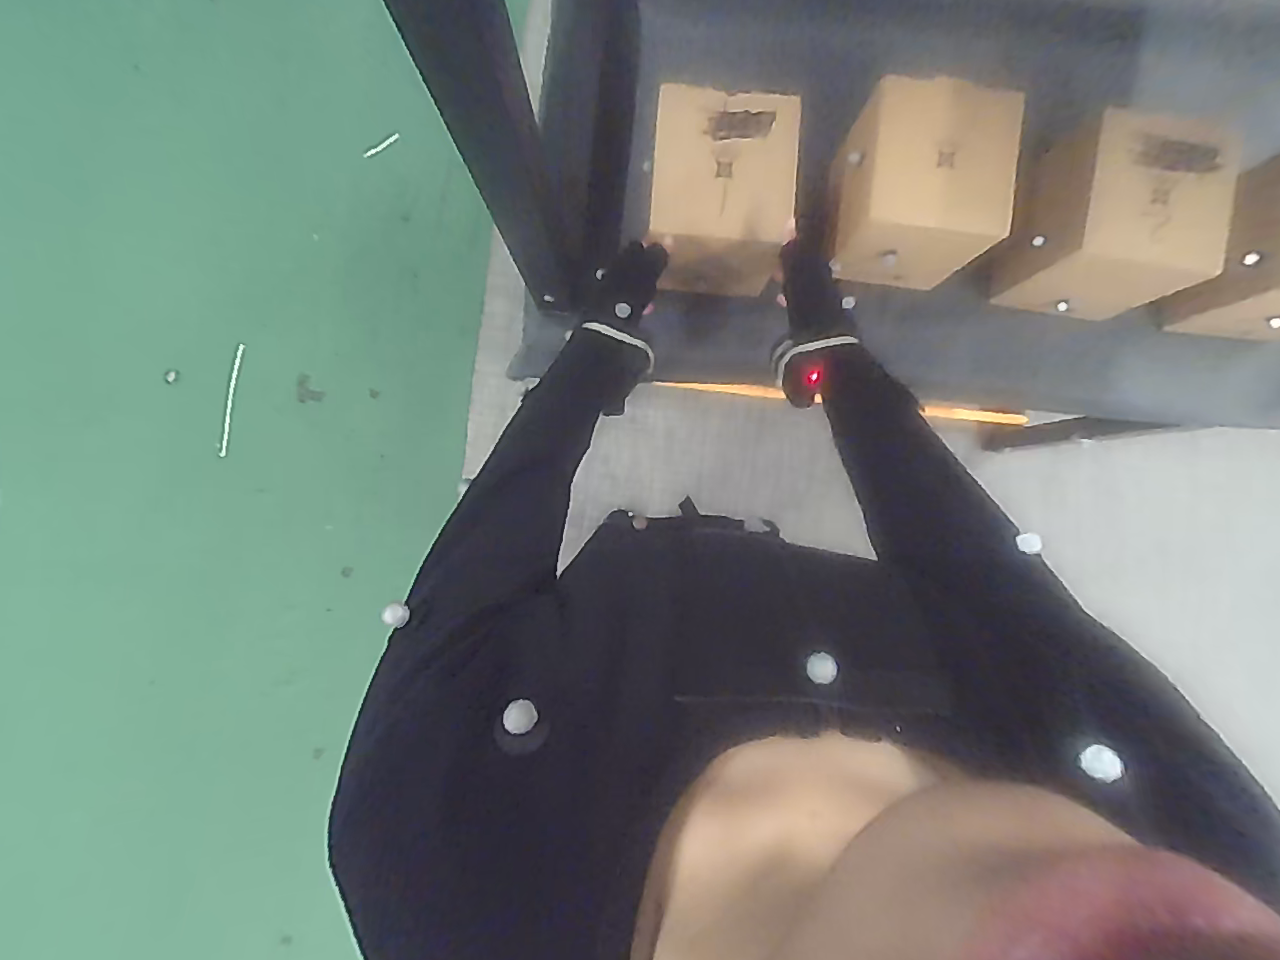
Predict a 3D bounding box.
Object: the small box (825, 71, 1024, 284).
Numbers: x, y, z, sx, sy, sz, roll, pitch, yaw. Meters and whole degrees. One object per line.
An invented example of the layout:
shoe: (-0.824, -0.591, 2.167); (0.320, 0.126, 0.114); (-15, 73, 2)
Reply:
small box: (0.353, -0.376, 0.703); (0.168, 0.176, 0.179); (7, 87, -1)

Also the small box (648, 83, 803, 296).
small box: (0.099, -0.360, 0.699); (0.168, 0.176, 0.179); (5, 89, 0)

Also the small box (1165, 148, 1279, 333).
small box: (0.840, -0.304, 0.701); (0.168, 0.176, 0.179); (6, 87, -1)
